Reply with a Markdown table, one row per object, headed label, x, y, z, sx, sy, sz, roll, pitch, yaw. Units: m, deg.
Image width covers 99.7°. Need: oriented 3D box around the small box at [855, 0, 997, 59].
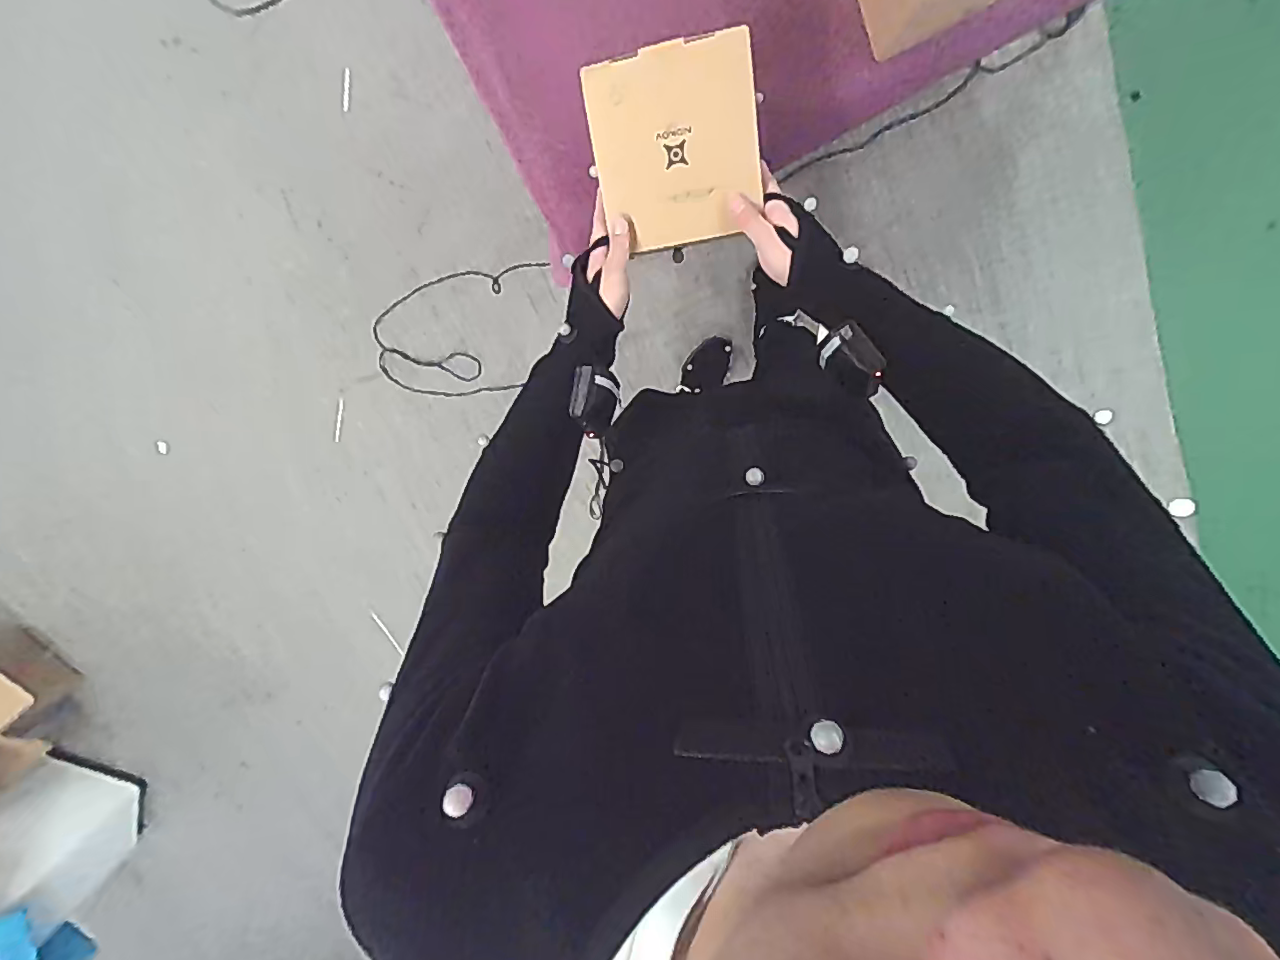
| label | x | y | z | sx | sy | sz | roll | pitch | yaw |
| --- | --- | --- | --- | --- | --- | --- | --- | --- | --- |
| small box | 0.325 | -0.604 | 0.569 | 0.168 | 0.176 | 0.179 | -22 | 104 | 12 |
